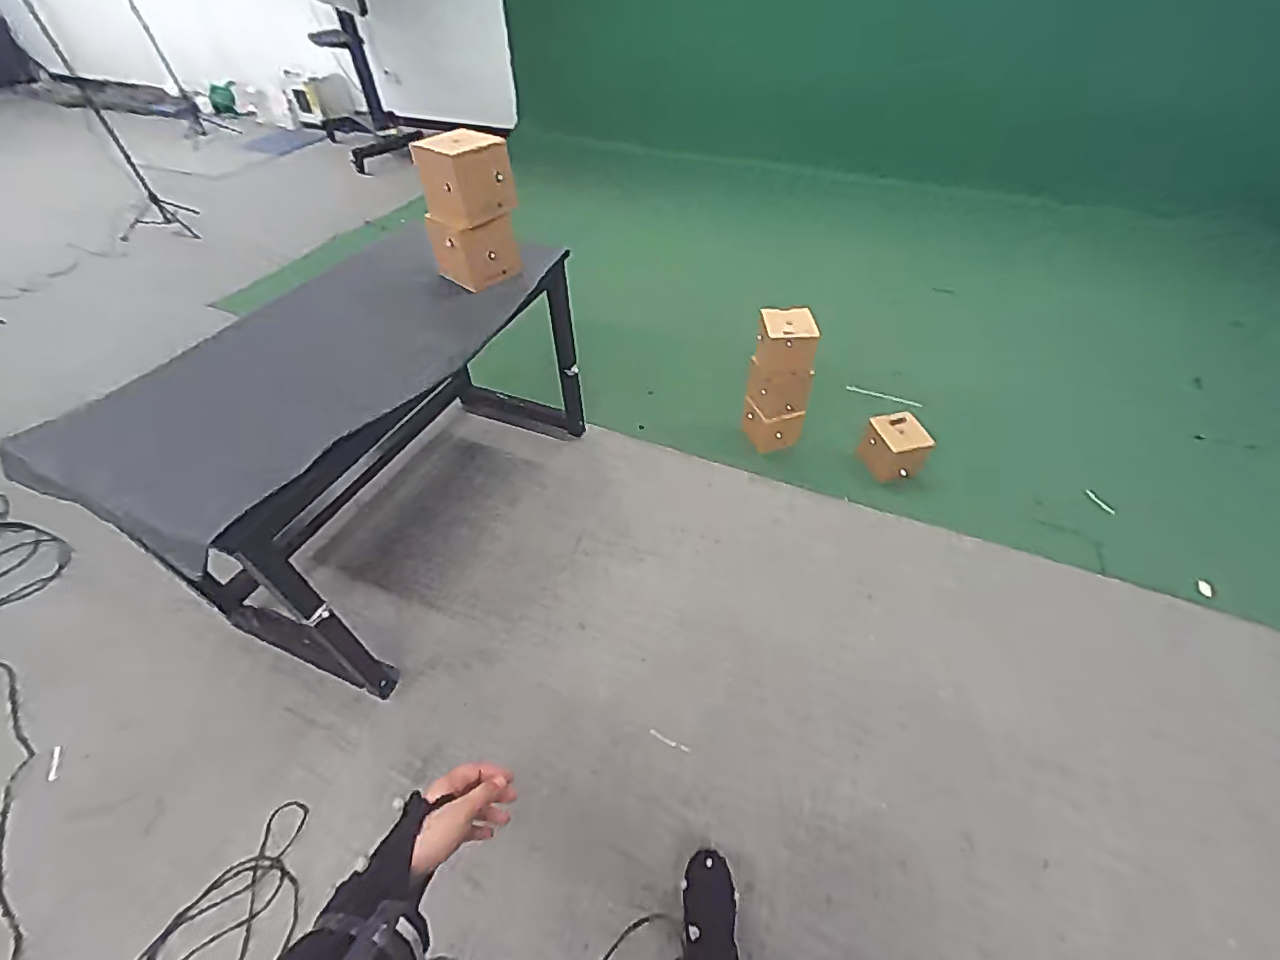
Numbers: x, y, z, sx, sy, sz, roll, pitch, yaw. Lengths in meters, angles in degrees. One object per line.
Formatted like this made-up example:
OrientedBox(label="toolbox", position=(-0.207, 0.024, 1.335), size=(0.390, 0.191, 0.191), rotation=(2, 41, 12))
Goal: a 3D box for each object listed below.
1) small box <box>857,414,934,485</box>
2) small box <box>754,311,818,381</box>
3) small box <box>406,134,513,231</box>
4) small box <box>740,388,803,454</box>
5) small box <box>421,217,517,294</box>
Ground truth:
OrientedBox(label="small box", position=(0.915, -0.110, 1.959), size=(0.168, 0.176, 0.179), rotation=(-11, 49, -9))
OrientedBox(label="small box", position=(0.492, -0.458, 1.848), size=(0.168, 0.176, 0.179), rotation=(-2, 47, 0))
OrientedBox(label="small box", position=(-0.449, -0.752, 1.371), size=(0.179, 0.176, 0.168), rotation=(28, 53, 28))
OrientedBox(label="small box", position=(0.499, -0.219, 2.075), size=(0.168, 0.176, 0.179), rotation=(-16, 48, -13))
OrientedBox(label="small box", position=(-0.460, -0.631, 1.480), size=(0.179, 0.176, 0.168), rotation=(33, 56, 31))
